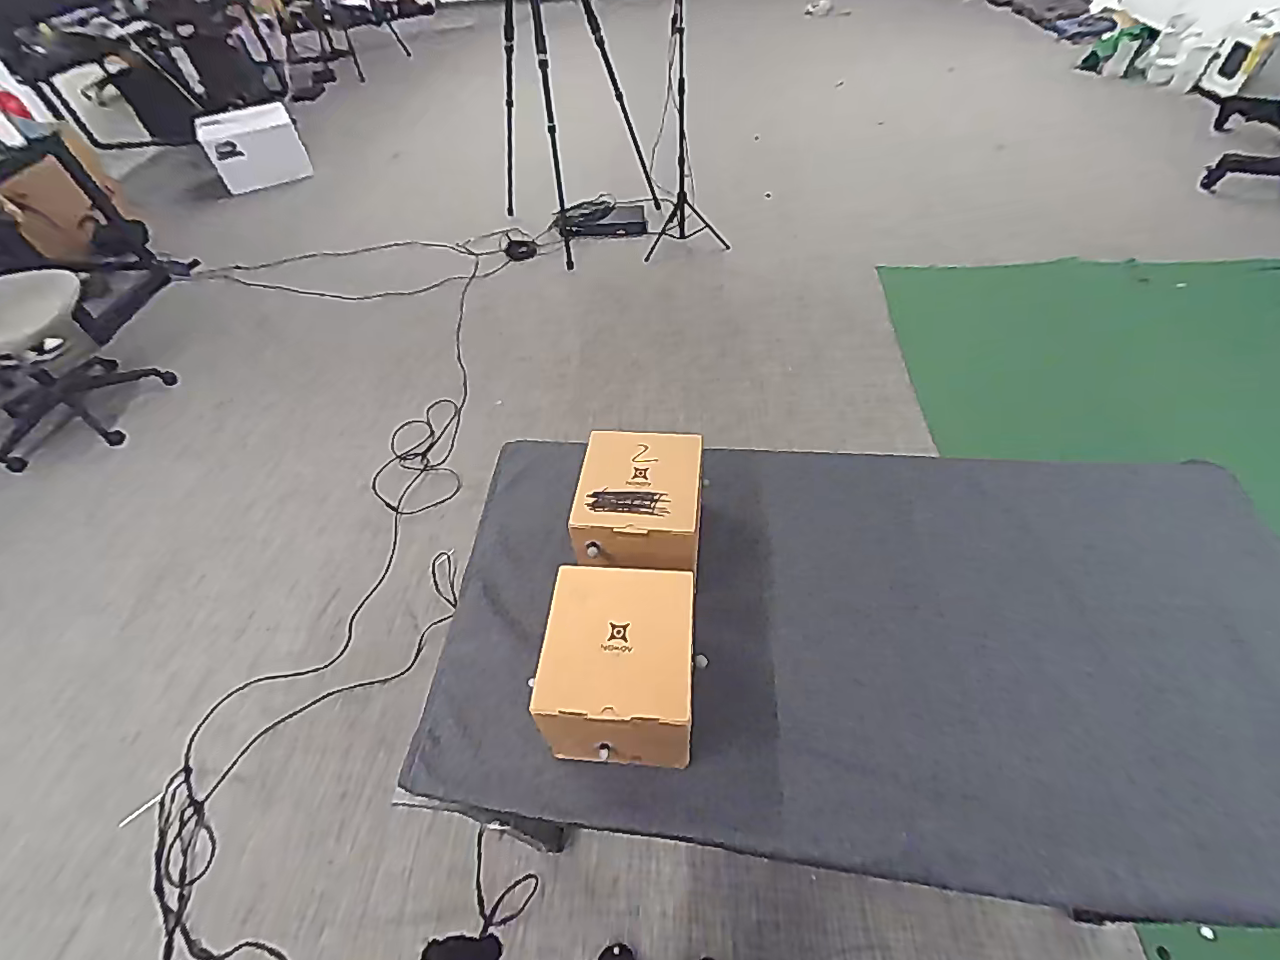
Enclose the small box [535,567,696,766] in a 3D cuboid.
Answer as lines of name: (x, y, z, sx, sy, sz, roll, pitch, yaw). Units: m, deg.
small box: (-0.019, 0.229, 0.664, 0.168, 0.176, 0.179, 2, 49, 5)
